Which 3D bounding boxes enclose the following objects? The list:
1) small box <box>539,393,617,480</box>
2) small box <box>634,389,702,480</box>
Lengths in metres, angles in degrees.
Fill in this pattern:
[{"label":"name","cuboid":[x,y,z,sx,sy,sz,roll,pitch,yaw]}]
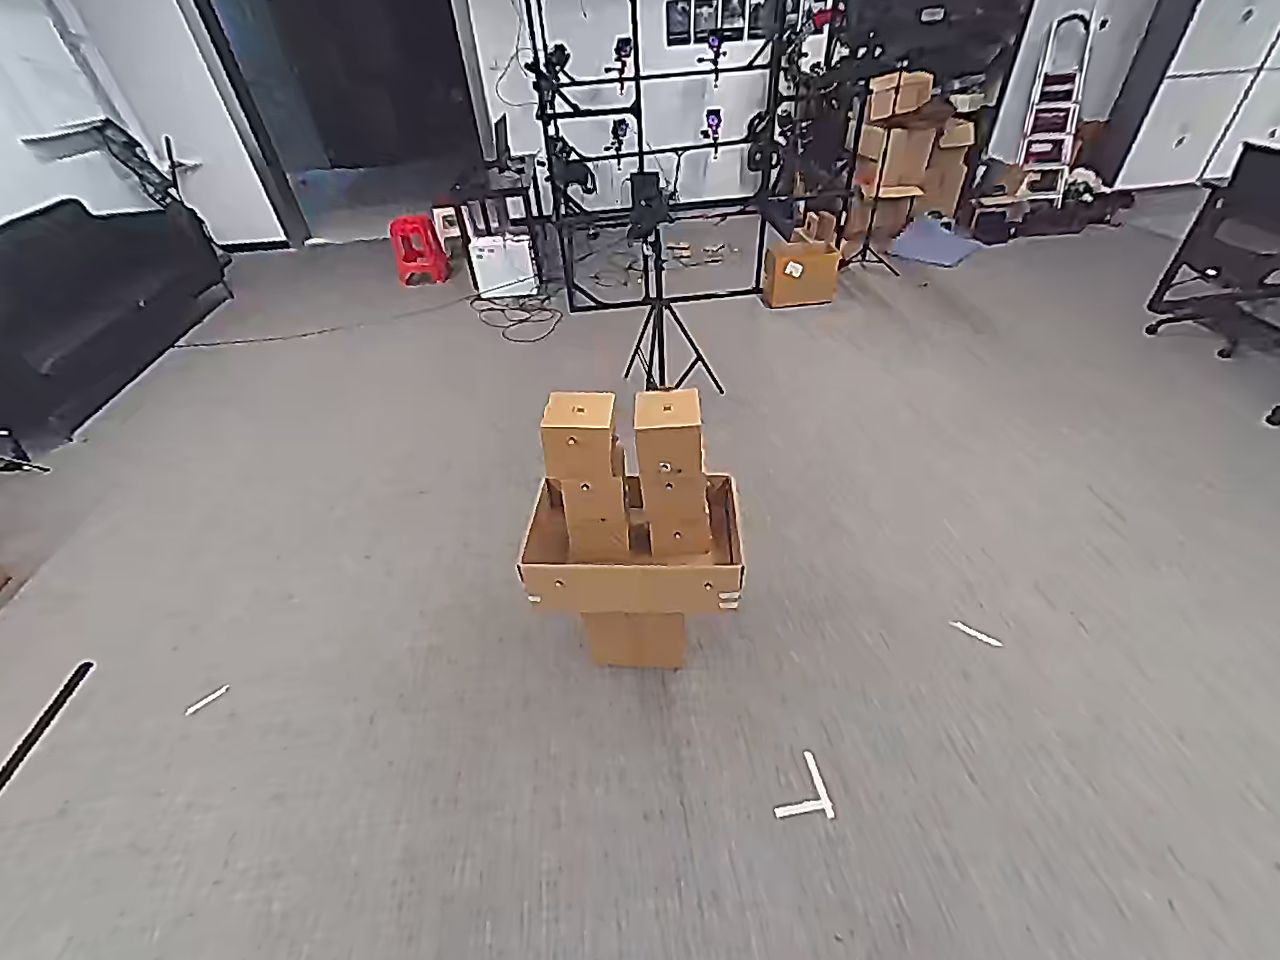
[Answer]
[{"label":"small box","cuboid":[-0.154,-0.113,1.428,0.179,0.176,0.168,1,40,3]},{"label":"small box","cuboid":[0.075,-0.119,1.411,0.168,0.176,0.179,-4,40,5]}]
